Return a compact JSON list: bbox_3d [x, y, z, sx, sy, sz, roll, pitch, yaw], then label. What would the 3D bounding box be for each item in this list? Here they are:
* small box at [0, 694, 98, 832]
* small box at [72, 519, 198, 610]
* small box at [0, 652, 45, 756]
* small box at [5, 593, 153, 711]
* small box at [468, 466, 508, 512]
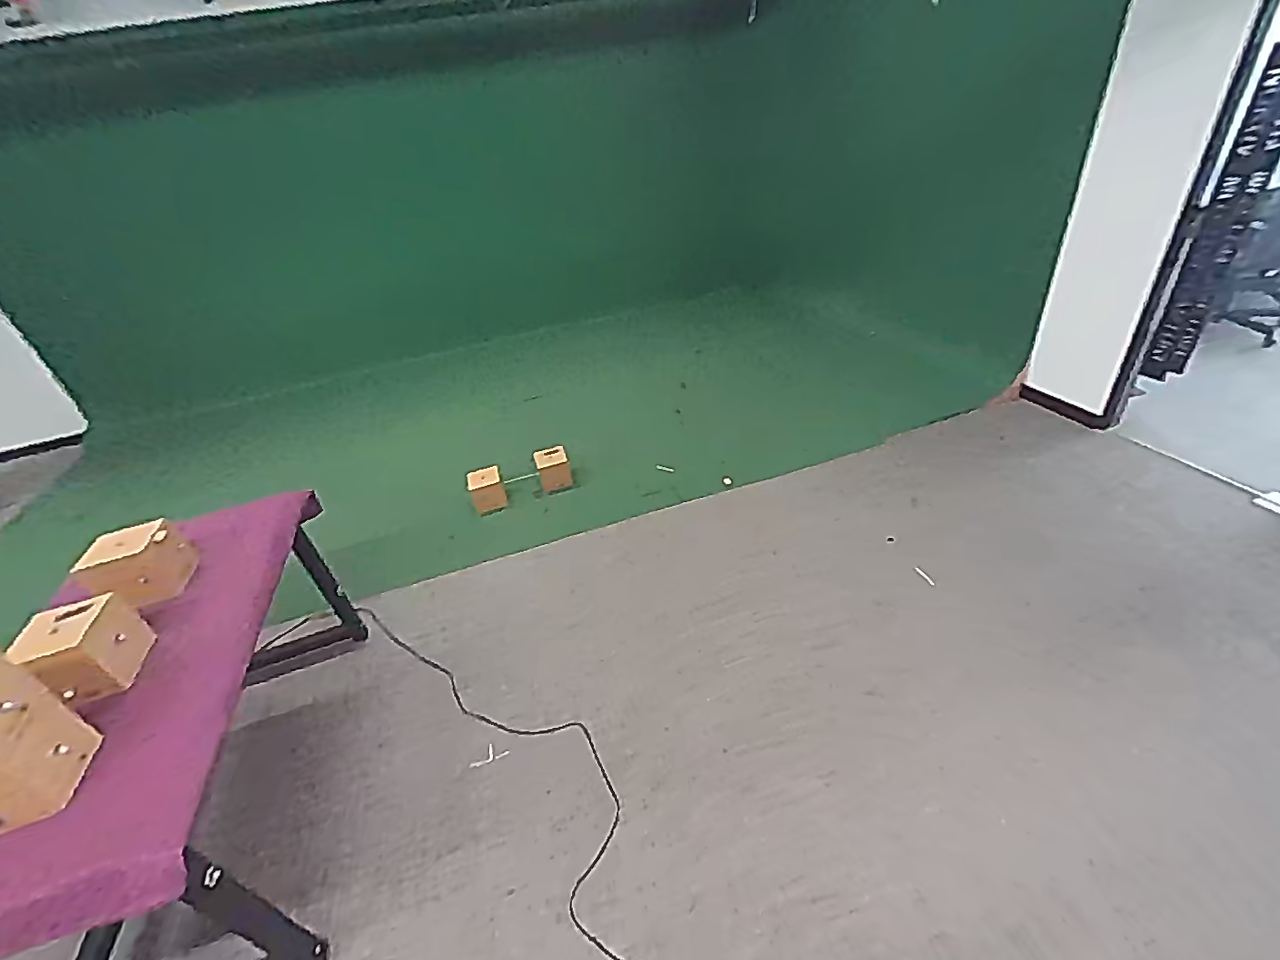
[{"bbox_3d":[-1.215,0.551,1.034,0.179,0.176,0.168,-17,34,-12],"label":"small box"},{"bbox_3d":[-1.407,0.244,1.526,0.179,0.176,0.168,-17,35,-10],"label":"small box"},{"bbox_3d":[-1.236,0.415,0.943,0.179,0.176,0.168,-17,36,-12],"label":"small box"},{"bbox_3d":[-1.305,0.404,1.269,0.168,0.176,0.179,-18,36,-11],"label":"small box"},{"bbox_3d":[-0.827,0.054,2.938,0.168,0.176,0.179,-17,34,-10],"label":"small box"}]
